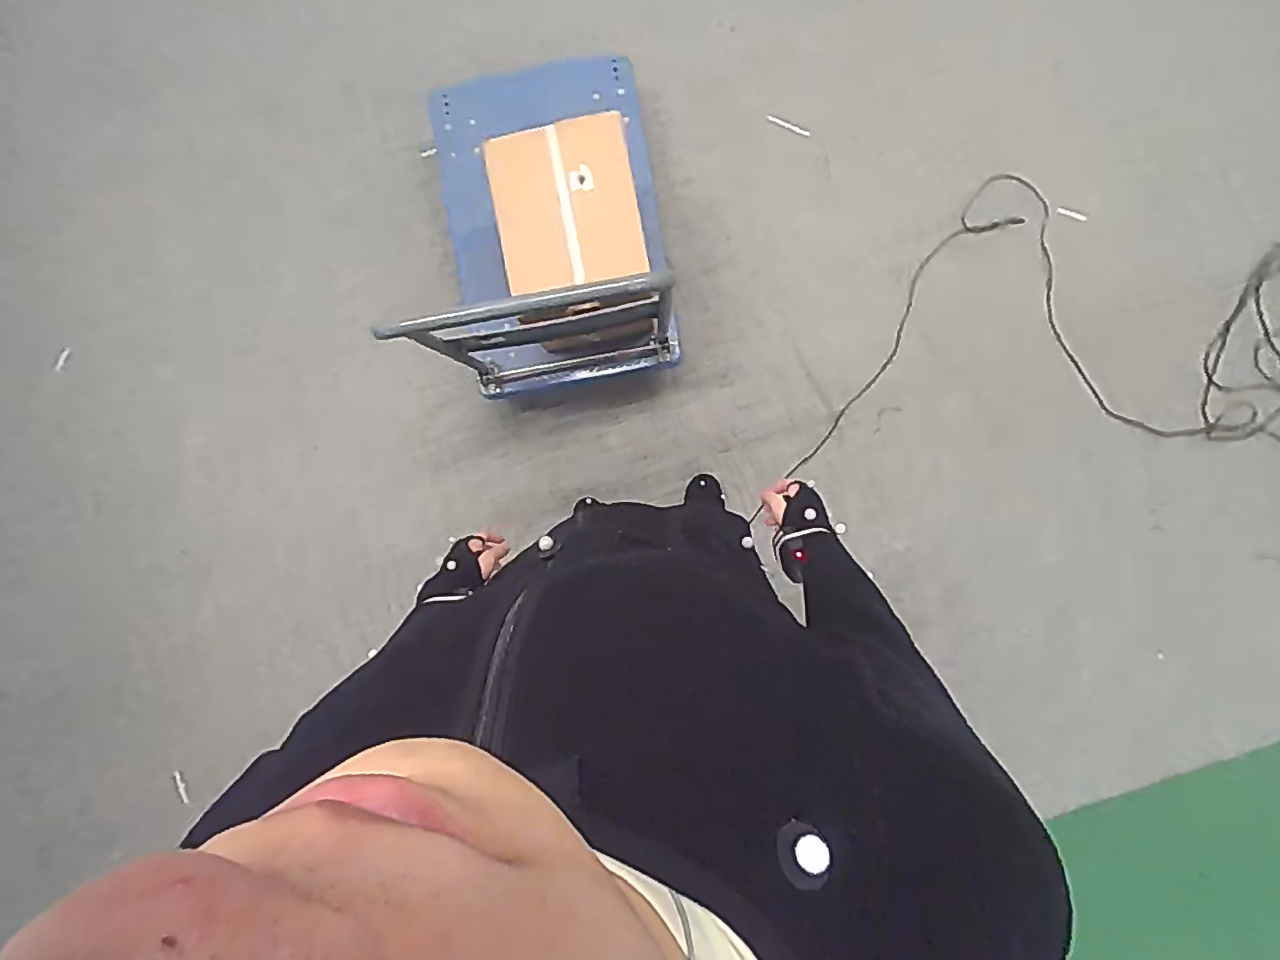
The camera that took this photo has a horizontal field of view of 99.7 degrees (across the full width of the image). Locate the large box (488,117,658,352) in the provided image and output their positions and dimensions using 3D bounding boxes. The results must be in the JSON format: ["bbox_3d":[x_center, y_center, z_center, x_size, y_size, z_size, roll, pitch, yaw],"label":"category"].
[{"bbox_3d":[-0.145,-0.573,1.335,0.320,0.320,0.408,-10,88,1],"label":"large box"}]
